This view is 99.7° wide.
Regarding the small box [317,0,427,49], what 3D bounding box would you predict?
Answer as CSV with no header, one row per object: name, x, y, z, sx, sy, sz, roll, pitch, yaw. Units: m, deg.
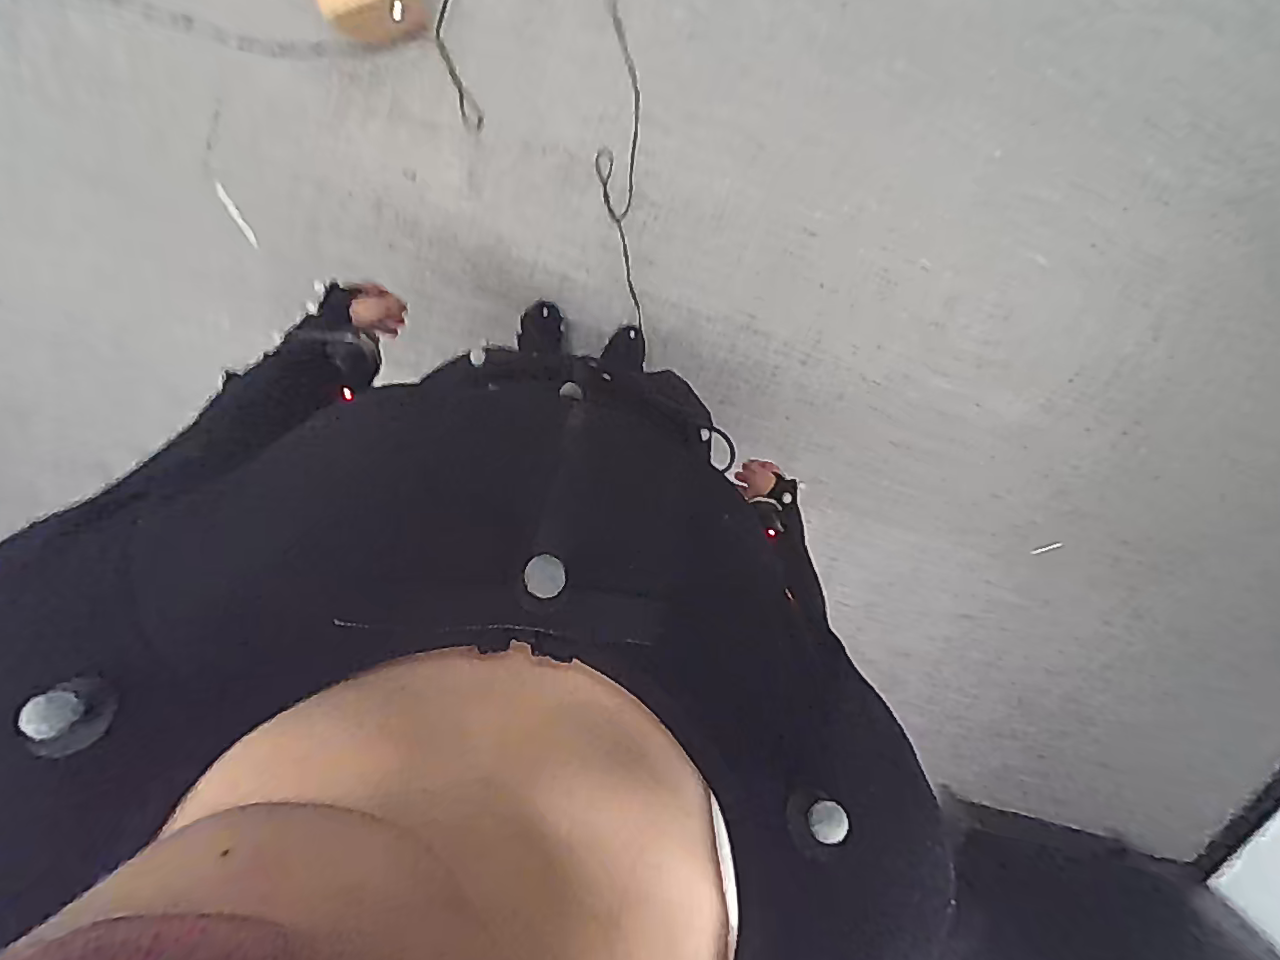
small box,-0.538,-0.991,1.054,0.179,0.176,0.168,-18,109,3
